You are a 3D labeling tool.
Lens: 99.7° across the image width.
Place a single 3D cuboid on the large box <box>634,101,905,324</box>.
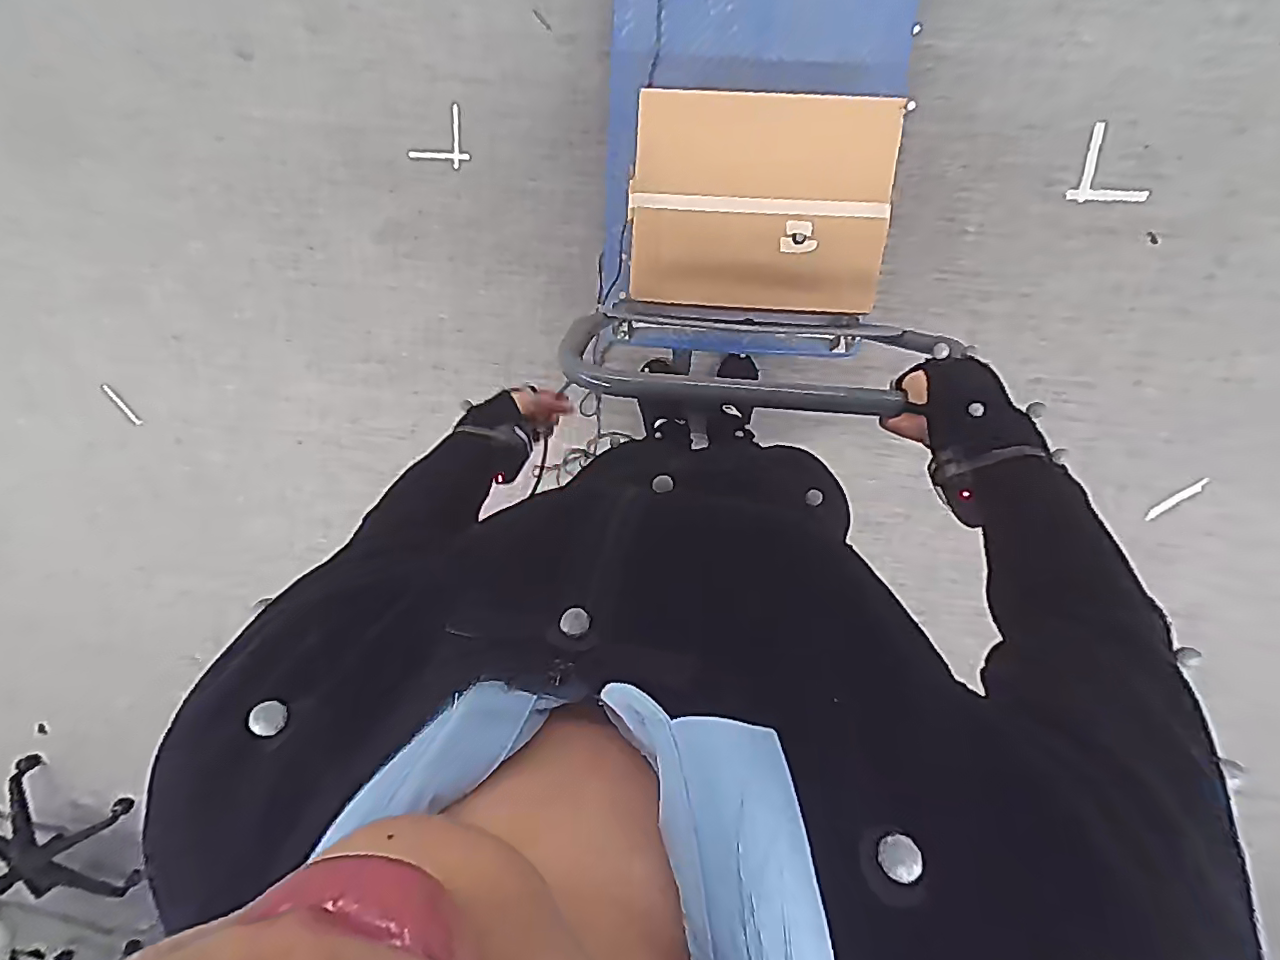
[{"bbox_3d":[0.200,-0.457,0.997,0.408,0.320,0.320,4,106,3],"label":"large box"}]
